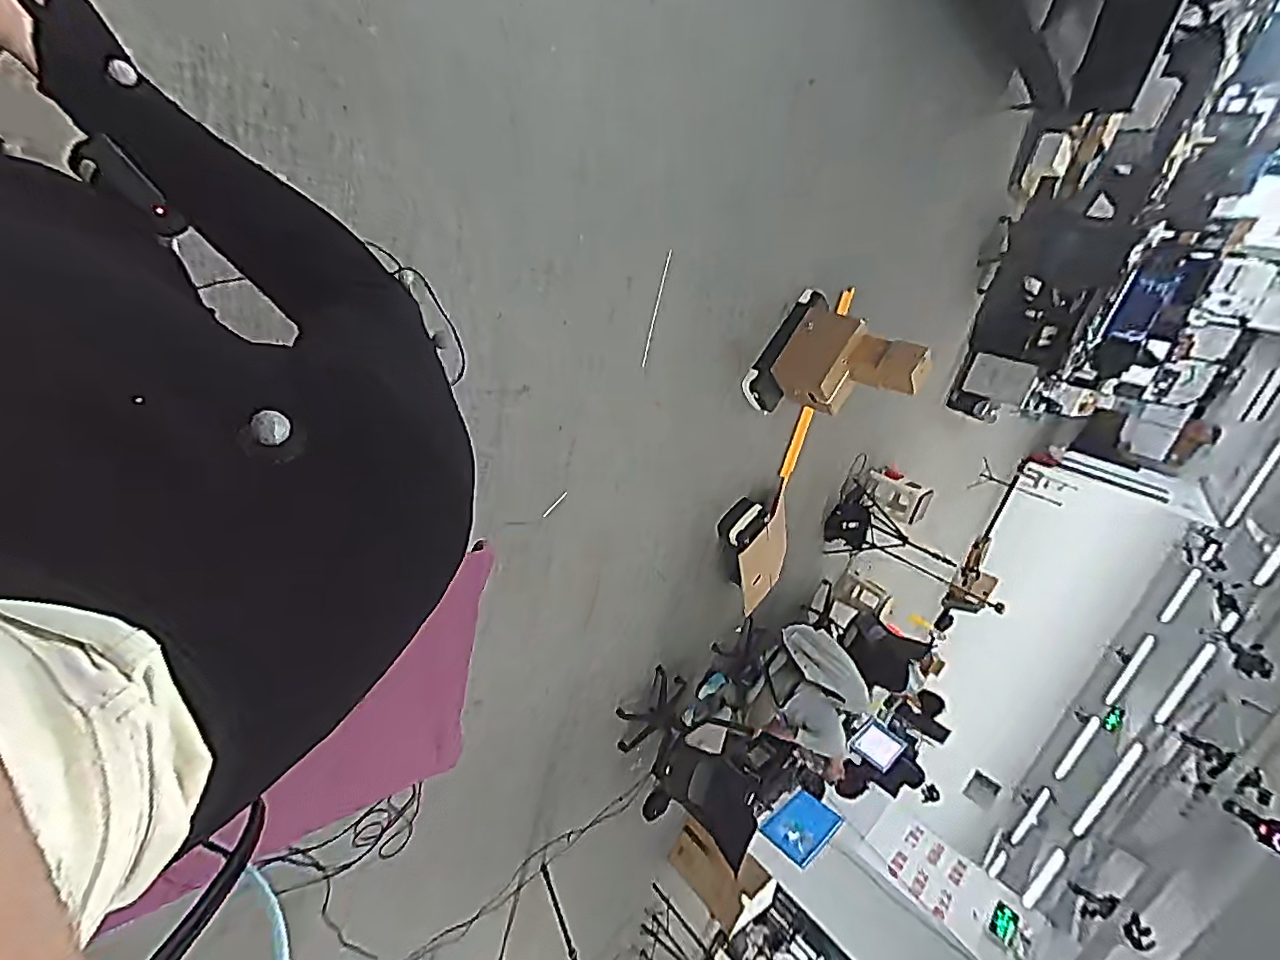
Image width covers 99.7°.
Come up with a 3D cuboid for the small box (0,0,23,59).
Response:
[{"bbox_3d":[-0.580,-0.427,0.377,0.179,0.176,0.168,-8,111,-51],"label":"small box"}]
